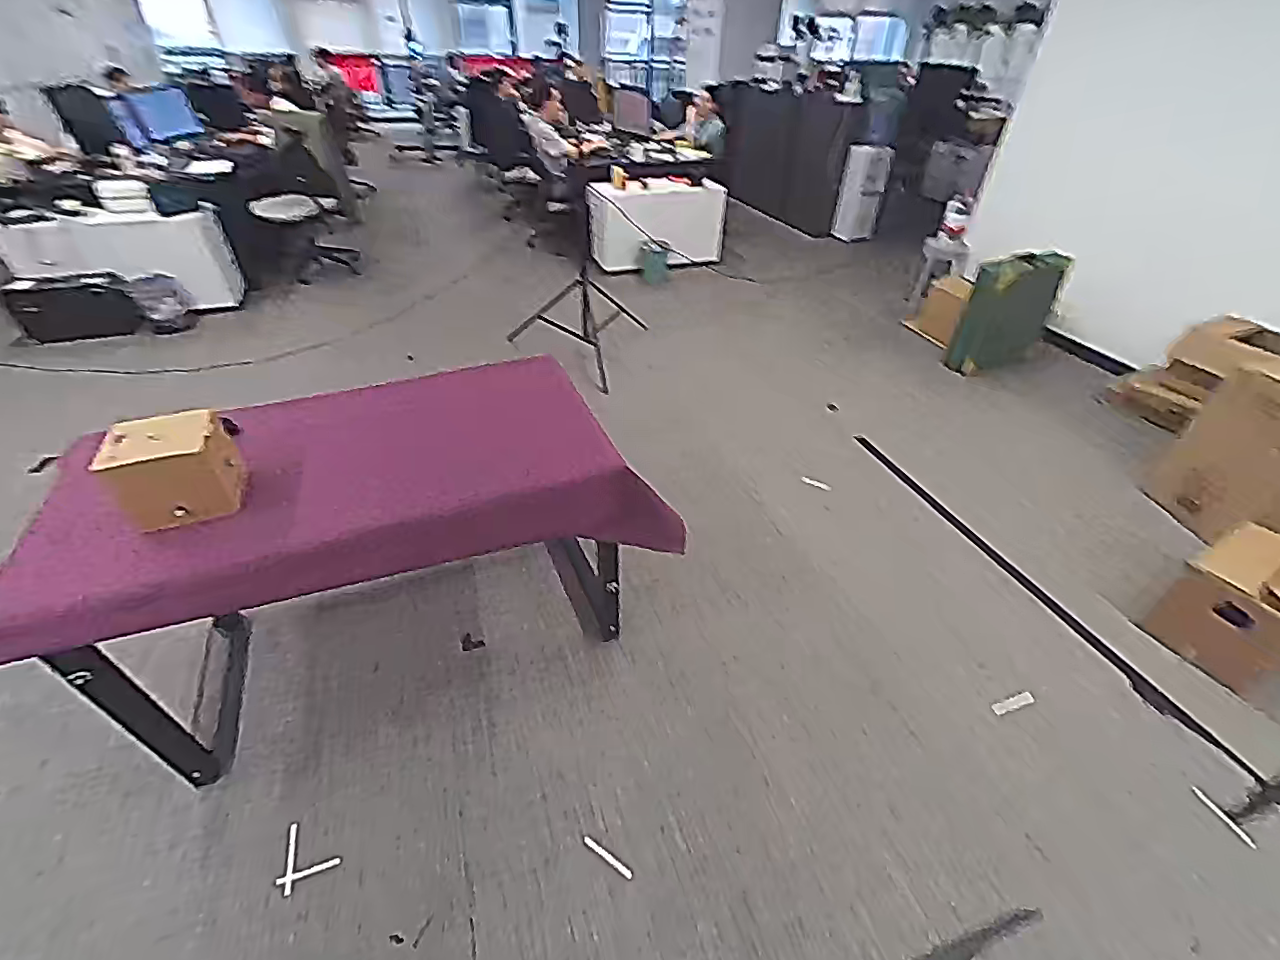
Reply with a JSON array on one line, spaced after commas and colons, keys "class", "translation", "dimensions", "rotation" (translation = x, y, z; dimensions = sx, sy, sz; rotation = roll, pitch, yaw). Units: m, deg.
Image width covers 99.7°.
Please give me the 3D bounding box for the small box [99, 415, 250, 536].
[{"class": "small box", "translation": [-0.952, -0.010, 1.129], "dimensions": [0.179, 0.176, 0.168], "rotation": [-13, 41, -19]}]
